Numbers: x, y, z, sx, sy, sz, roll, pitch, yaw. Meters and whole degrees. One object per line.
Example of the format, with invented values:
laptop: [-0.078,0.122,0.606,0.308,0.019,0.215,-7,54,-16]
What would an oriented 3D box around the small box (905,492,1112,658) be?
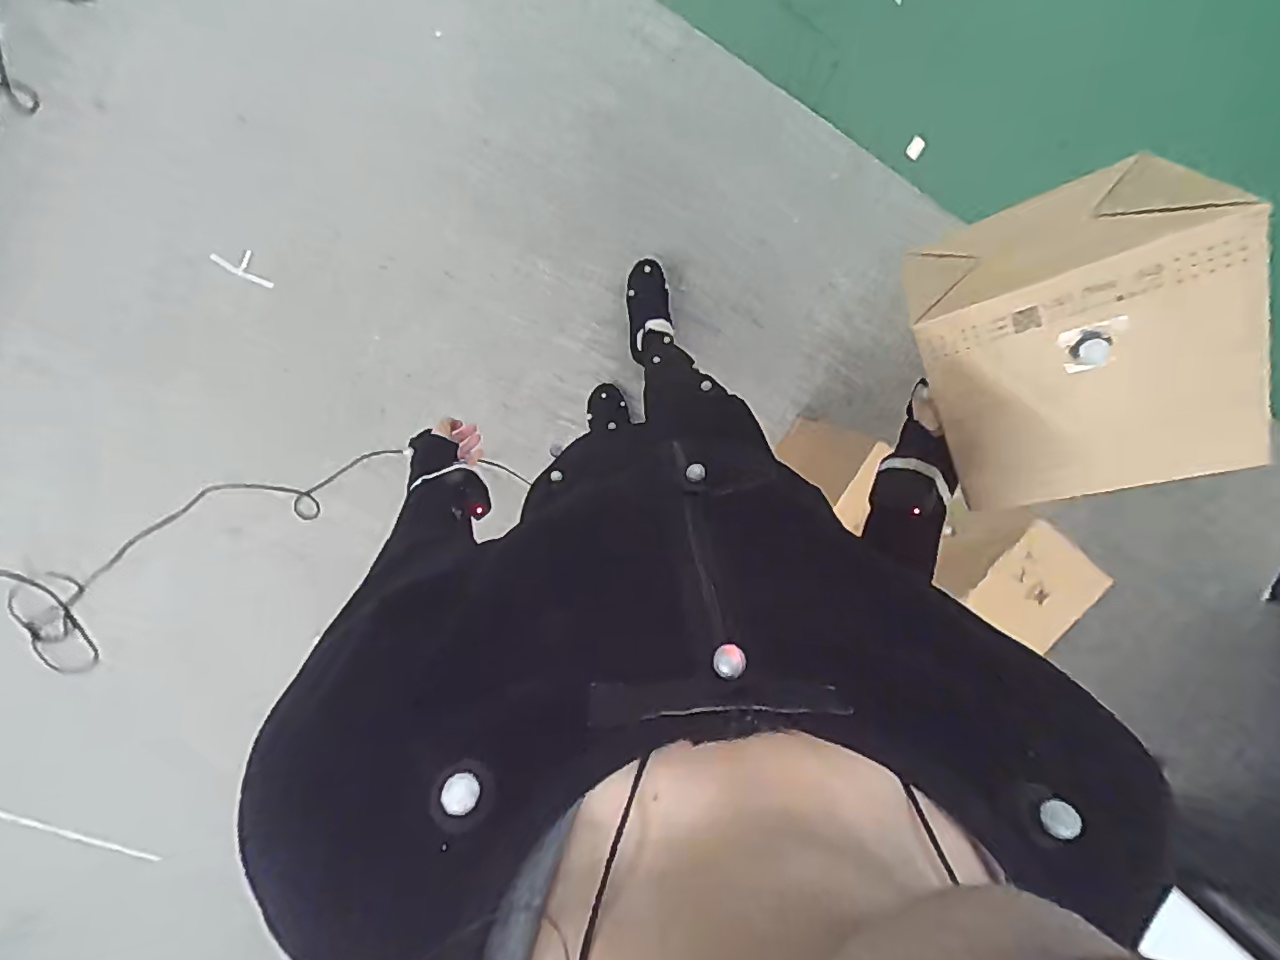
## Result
small box: [0.577,0.141,0.870,0.179,0.176,0.168,36,99,-12]

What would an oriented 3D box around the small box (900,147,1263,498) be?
small box: [0.306,-0.117,0.402,0.168,0.179,0.176,-16,119,34]
